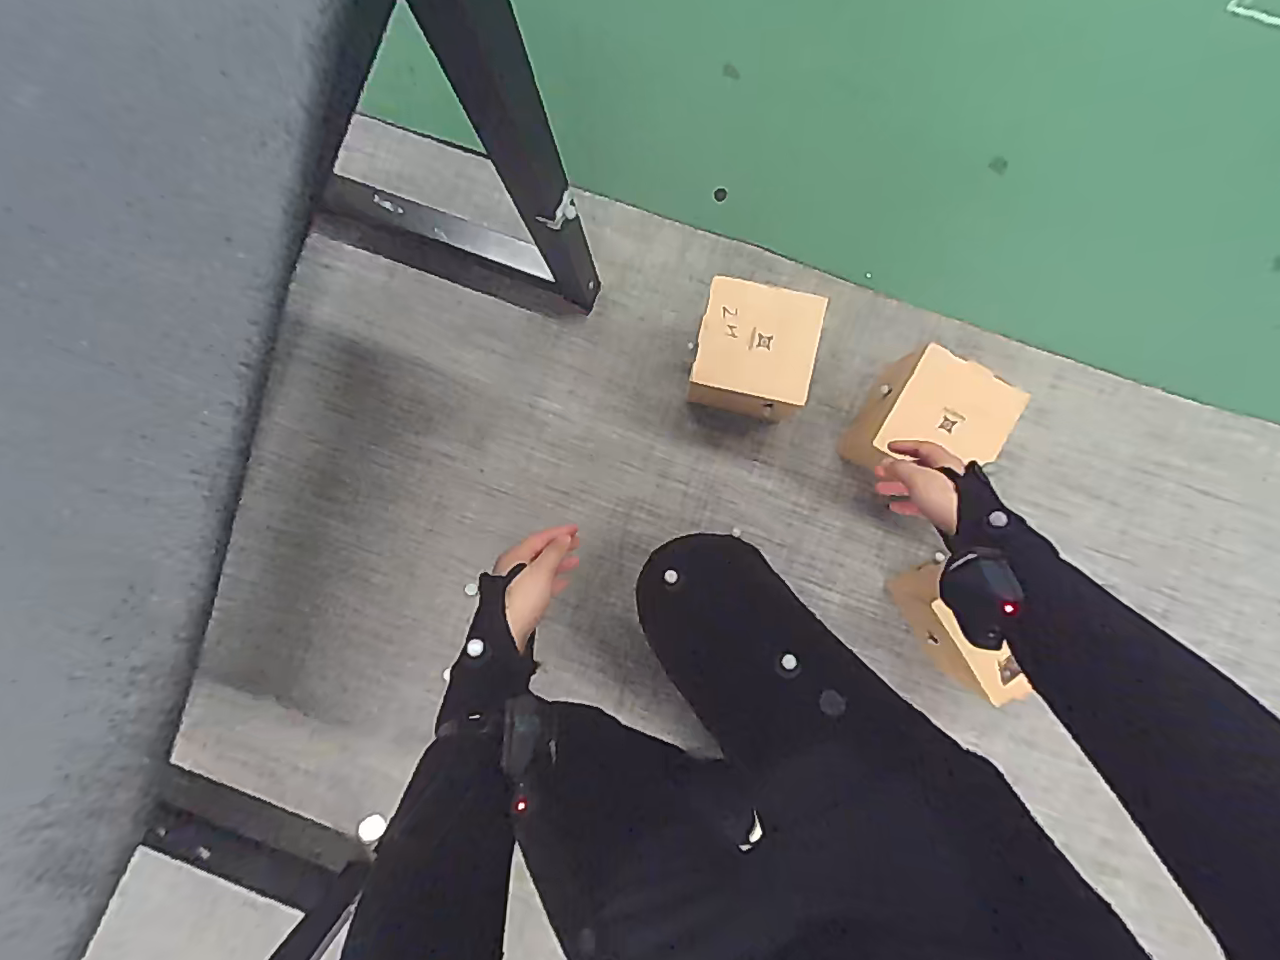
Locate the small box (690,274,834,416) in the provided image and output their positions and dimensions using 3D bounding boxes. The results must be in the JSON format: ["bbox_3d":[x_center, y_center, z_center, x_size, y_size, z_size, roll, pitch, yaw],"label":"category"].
[{"bbox_3d":[0.185,-0.205,0.871,0.179,0.176,0.168,13,90,3],"label":"small box"}]

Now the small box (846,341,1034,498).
[{"bbox_3d":[0.457,-0.088,0.857,0.168,0.176,0.179,30,91,2],"label":"small box"}]

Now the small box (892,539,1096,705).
[{"bbox_3d":[0.540,0.209,0.852,0.168,0.176,0.179,-31,87,2],"label":"small box"}]
